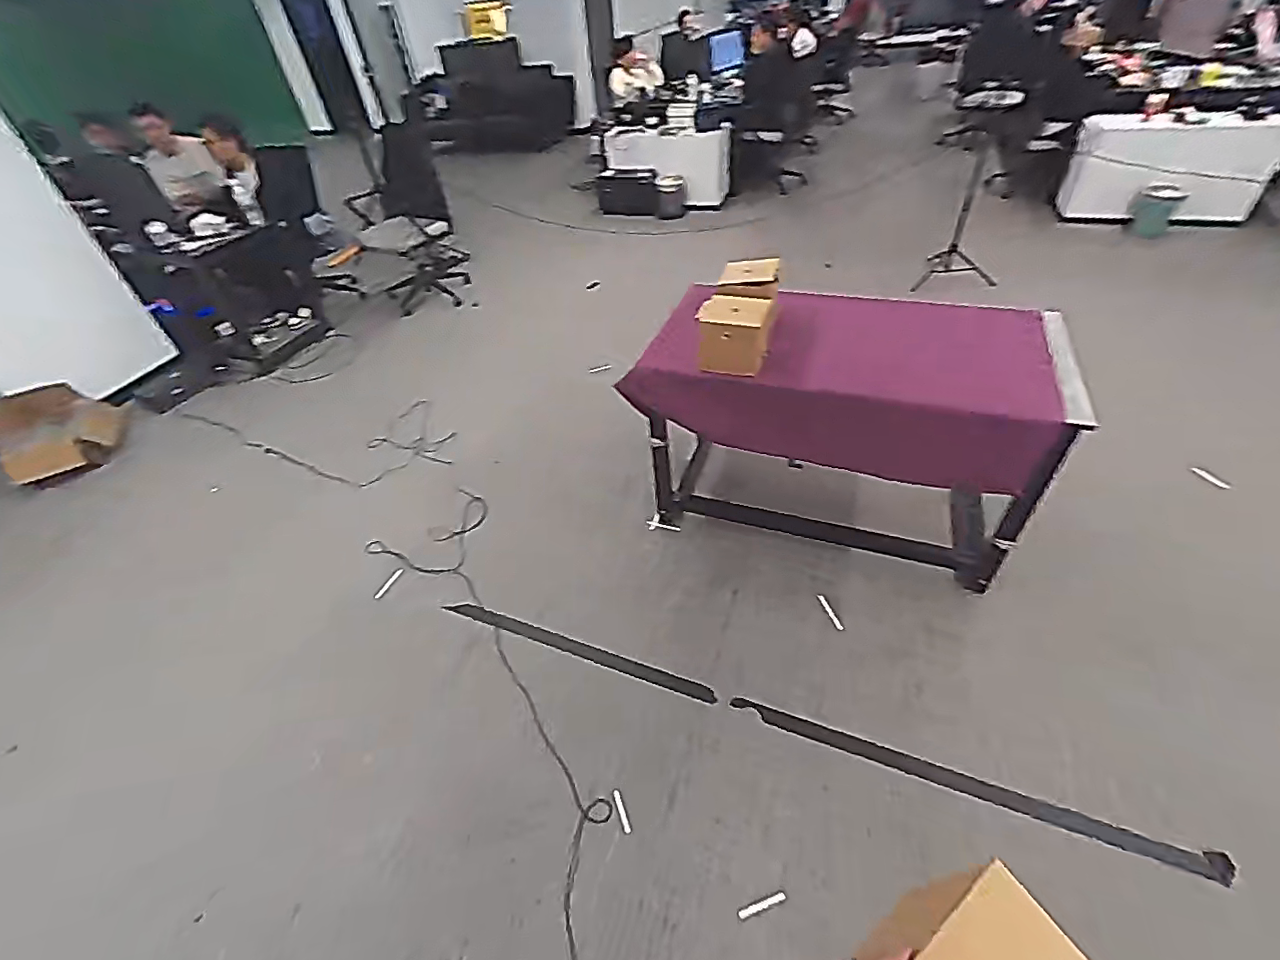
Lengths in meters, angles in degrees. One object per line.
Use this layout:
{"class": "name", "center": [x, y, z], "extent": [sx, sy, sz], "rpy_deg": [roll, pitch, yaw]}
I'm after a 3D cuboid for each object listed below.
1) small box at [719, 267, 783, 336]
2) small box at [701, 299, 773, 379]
{"class": "small box", "center": [0.361, -0.582, 1.774], "extent": [0.179, 0.176, 0.168], "rpy_deg": [10, 46, 16]}
{"class": "small box", "center": [0.286, -0.419, 1.612], "extent": [0.179, 0.176, 0.168], "rpy_deg": [12, 47, 18]}
